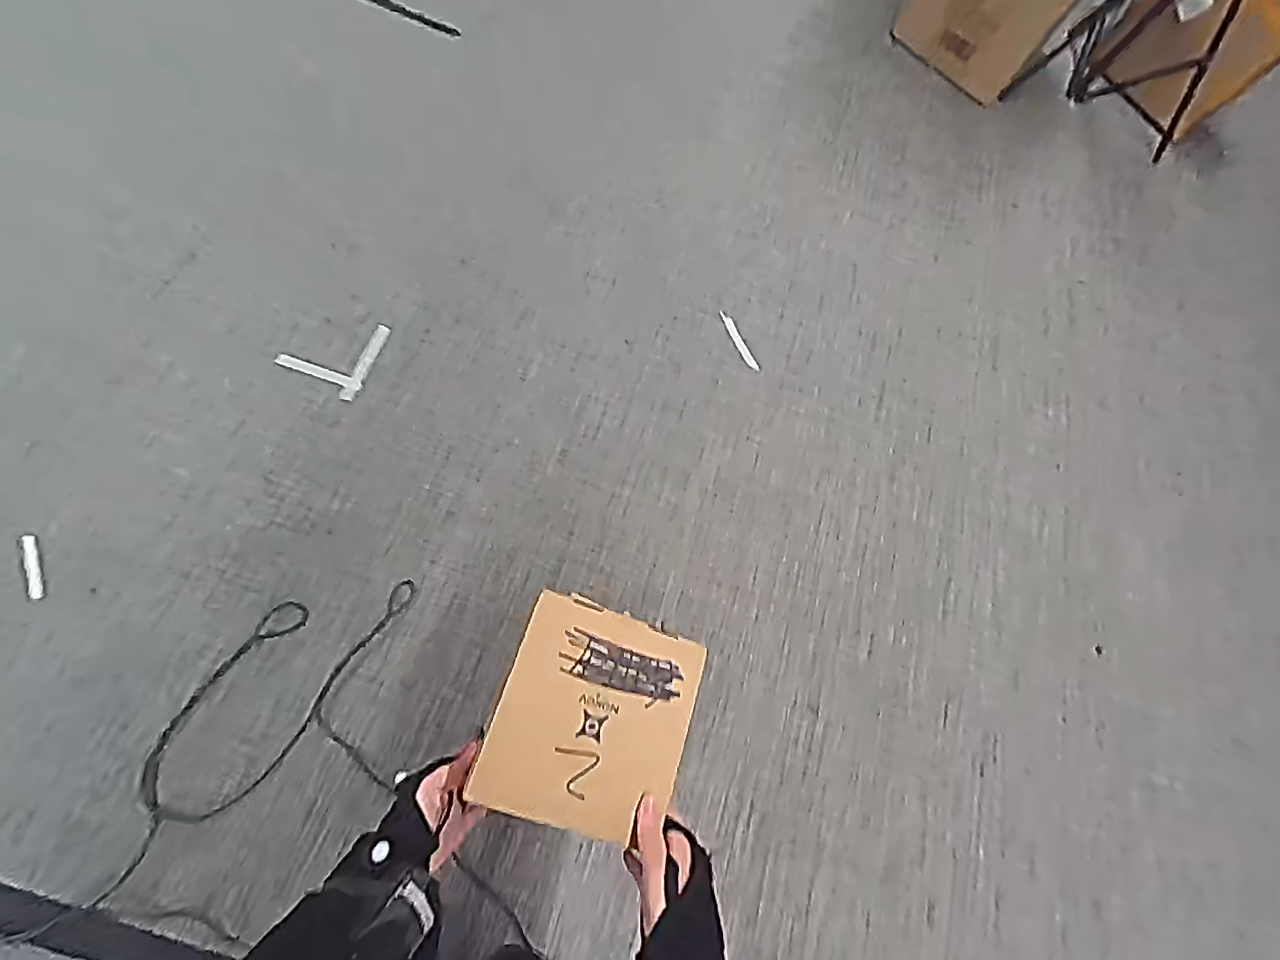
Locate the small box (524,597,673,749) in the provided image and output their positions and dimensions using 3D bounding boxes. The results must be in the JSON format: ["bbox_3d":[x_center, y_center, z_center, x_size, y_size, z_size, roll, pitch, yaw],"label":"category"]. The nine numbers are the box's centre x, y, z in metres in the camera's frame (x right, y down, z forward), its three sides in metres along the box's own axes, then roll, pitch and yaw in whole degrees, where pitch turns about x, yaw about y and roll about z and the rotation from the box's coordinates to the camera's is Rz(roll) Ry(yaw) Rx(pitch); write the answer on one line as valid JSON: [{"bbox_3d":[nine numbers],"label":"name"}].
[{"bbox_3d":[-0.074,0.312,0.878,0.179,0.176,0.168,27,67,-2],"label":"small box"}]
